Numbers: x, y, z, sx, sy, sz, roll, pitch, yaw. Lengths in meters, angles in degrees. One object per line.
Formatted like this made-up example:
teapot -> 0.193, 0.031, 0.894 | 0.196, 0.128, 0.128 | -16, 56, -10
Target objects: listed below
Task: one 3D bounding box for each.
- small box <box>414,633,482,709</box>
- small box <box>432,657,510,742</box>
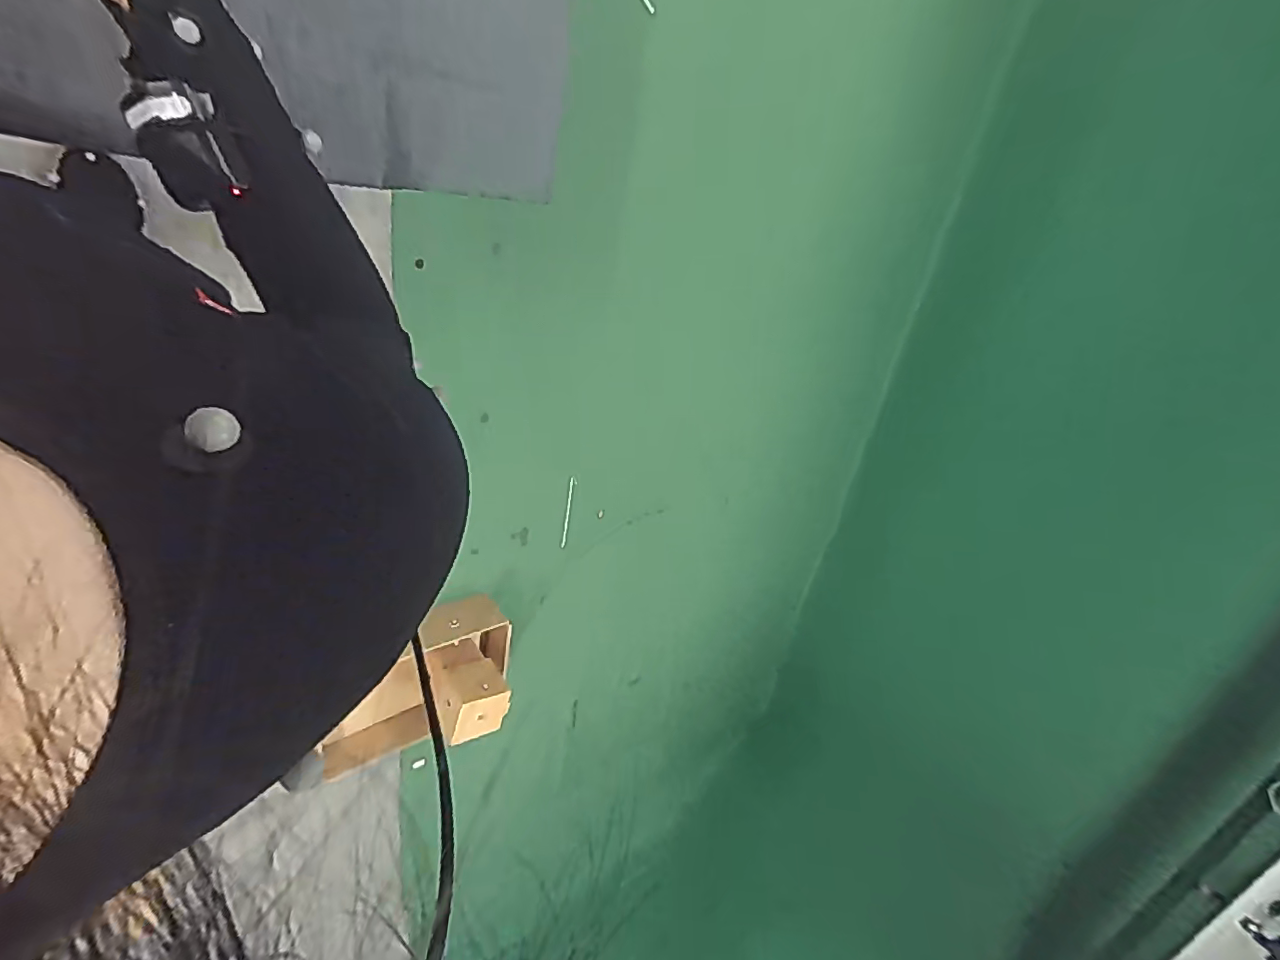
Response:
small box -> -0.664, 0.659, 1.882 | 0.168, 0.176, 0.179 | 8, 109, -47
small box -> -0.558, 0.710, 1.768 | 0.179, 0.176, 0.168 | 1, 115, -46
